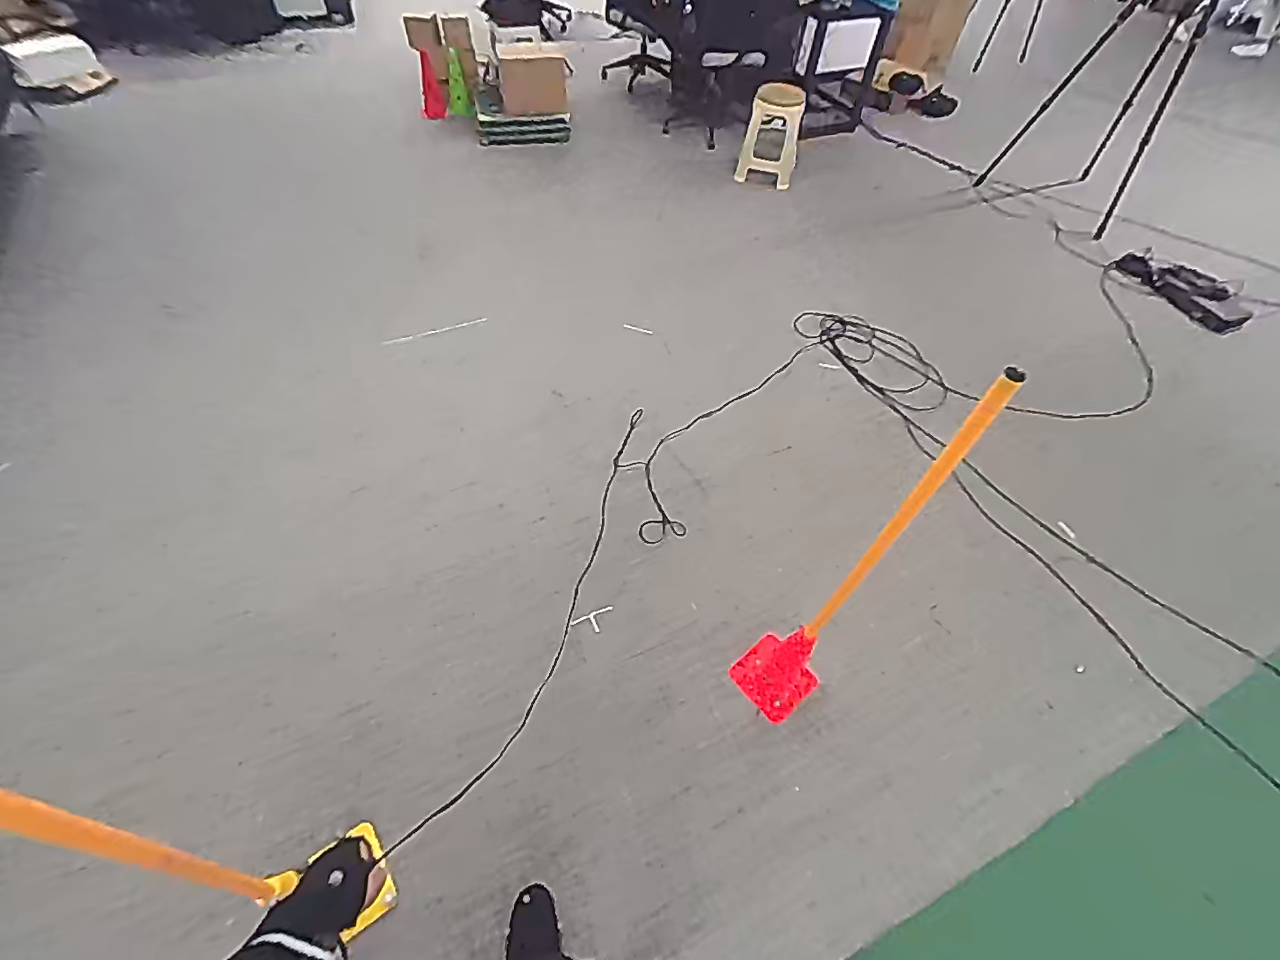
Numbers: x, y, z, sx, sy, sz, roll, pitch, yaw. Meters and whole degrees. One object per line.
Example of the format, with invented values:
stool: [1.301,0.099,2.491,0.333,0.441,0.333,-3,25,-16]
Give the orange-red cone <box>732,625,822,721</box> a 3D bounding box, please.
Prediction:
orange-red cone: [0.406,0.468,1.440,0.199,0.360,0.198,-31,62,-25]
